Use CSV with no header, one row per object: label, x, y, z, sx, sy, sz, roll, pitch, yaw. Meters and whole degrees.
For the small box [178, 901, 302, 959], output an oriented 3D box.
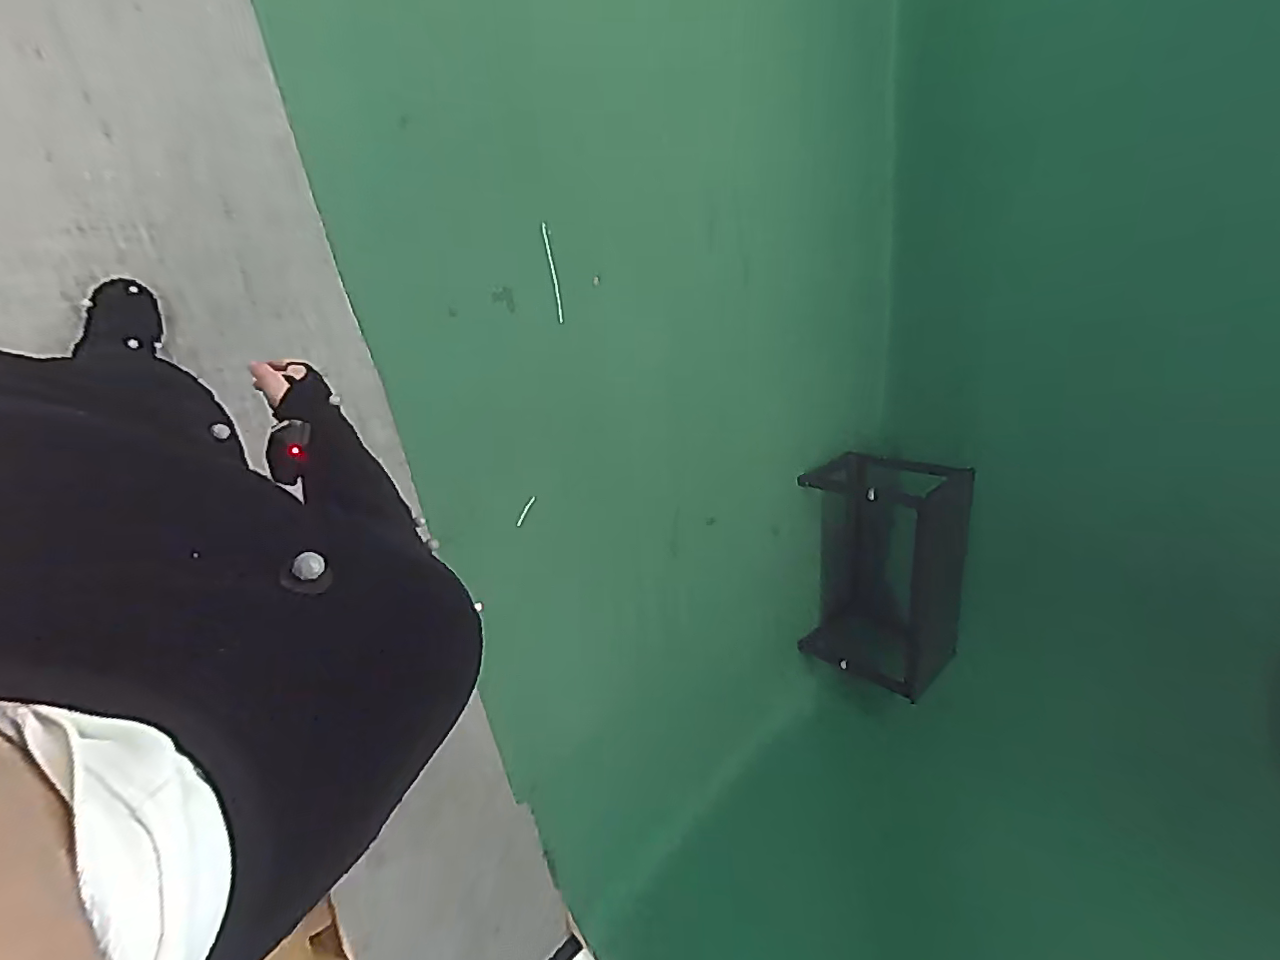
small box,-0.720,0.938,0.989,0.168,0.176,0.179,-21,115,-38
